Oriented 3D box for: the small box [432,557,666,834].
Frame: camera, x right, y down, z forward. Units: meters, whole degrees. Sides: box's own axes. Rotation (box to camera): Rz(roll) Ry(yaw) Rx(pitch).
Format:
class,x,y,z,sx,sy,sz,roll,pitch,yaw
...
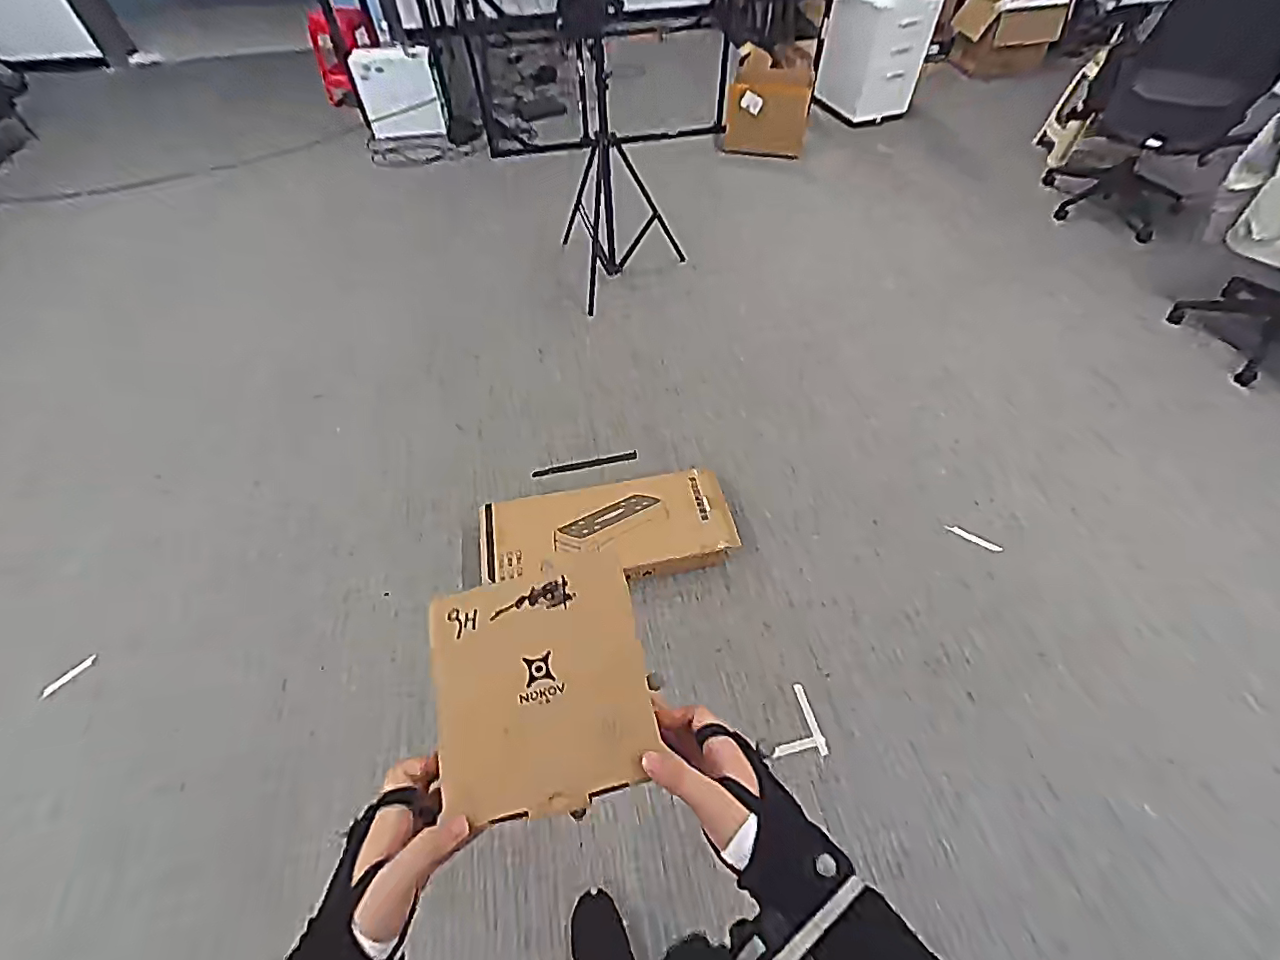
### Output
class,x,y,z,sx,sy,sz,roll,pitch,yaw
small box,-0.073,0.191,0.498,0.168,0.176,0.179,-13,66,-4
